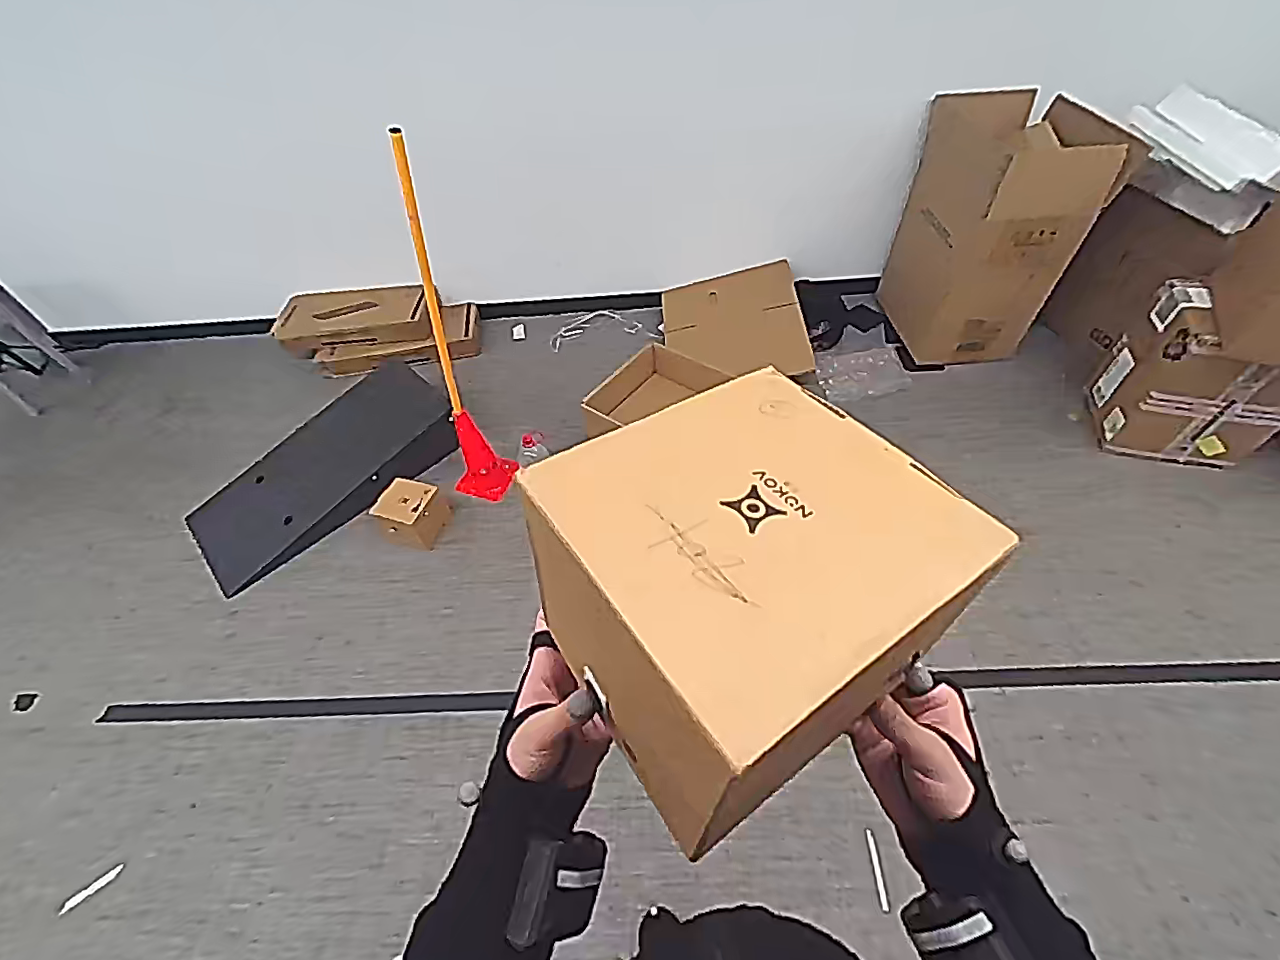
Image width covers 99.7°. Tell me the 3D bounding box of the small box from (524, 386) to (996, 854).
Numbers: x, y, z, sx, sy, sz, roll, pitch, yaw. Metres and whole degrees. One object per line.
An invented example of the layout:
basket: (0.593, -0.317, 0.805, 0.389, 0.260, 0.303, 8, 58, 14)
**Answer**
small box: (0.052, 0.078, 0.323, 0.179, 0.176, 0.168, -26, 52, -23)
